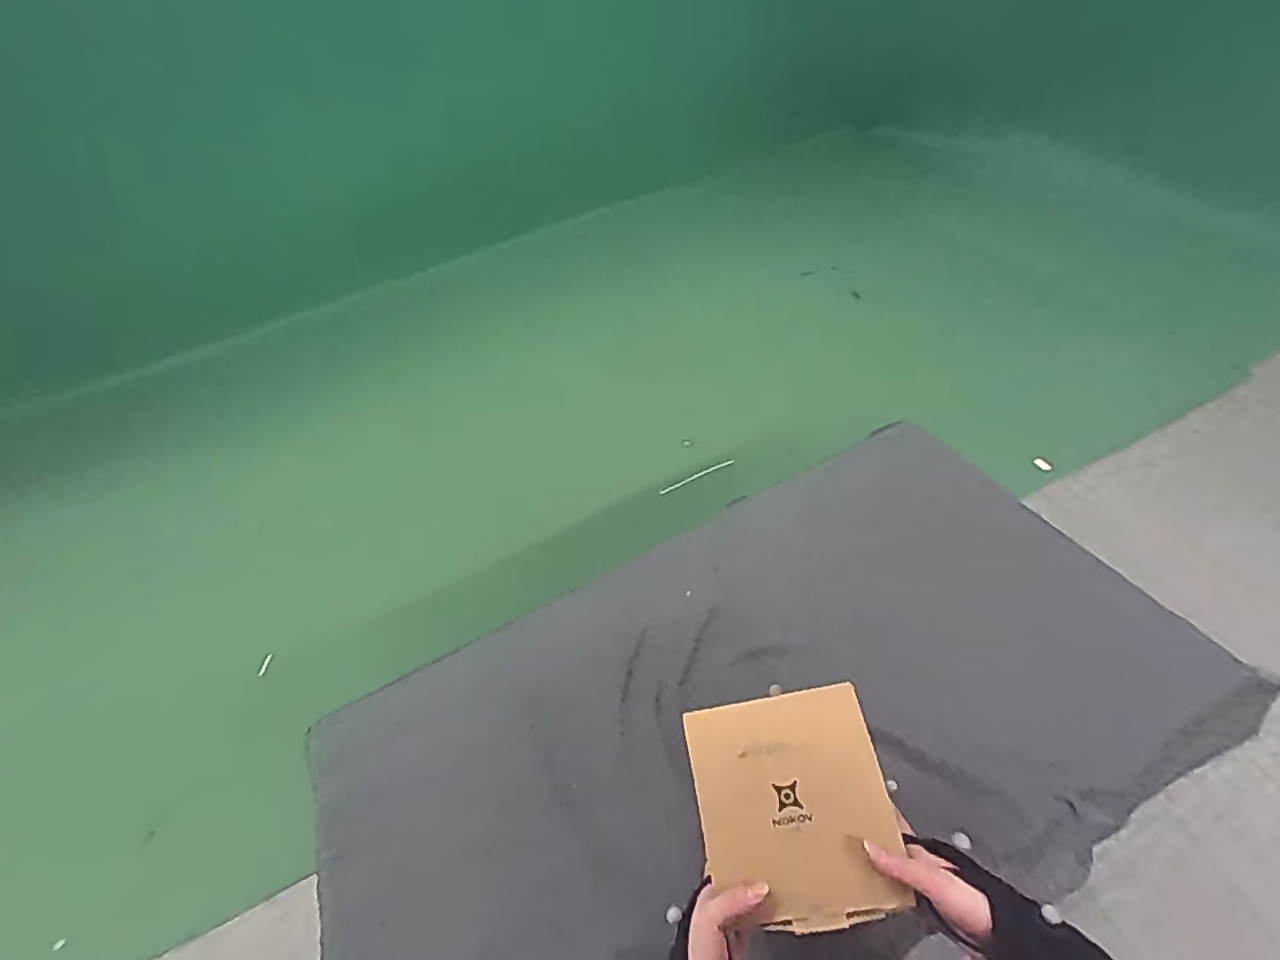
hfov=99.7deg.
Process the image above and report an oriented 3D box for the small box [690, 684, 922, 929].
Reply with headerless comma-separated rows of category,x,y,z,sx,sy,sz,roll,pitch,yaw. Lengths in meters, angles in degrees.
small box,0.159,0.318,0.556,0.168,0.176,0.179,-14,63,8
